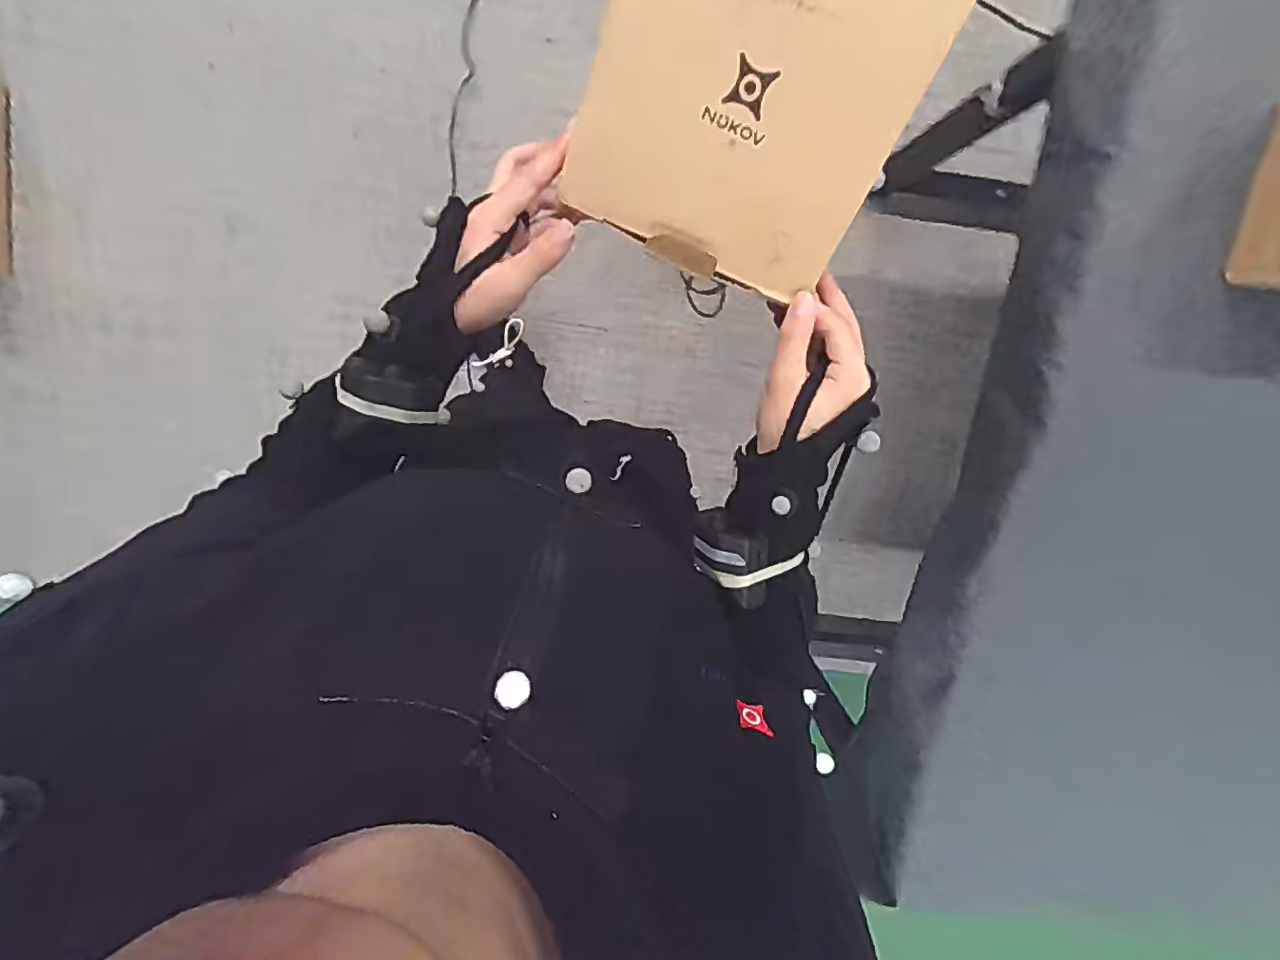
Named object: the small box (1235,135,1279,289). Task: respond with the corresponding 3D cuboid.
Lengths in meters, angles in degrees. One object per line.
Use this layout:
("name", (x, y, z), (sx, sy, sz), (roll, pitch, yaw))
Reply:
("small box", (0.724, -0.272, 0.493), (0.168, 0.176, 0.179), (5, 104, -4))

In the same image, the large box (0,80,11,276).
("large box", (-1.499, -0.638, 1.007), (0.320, 0.320, 0.408), (12, 101, -5))
